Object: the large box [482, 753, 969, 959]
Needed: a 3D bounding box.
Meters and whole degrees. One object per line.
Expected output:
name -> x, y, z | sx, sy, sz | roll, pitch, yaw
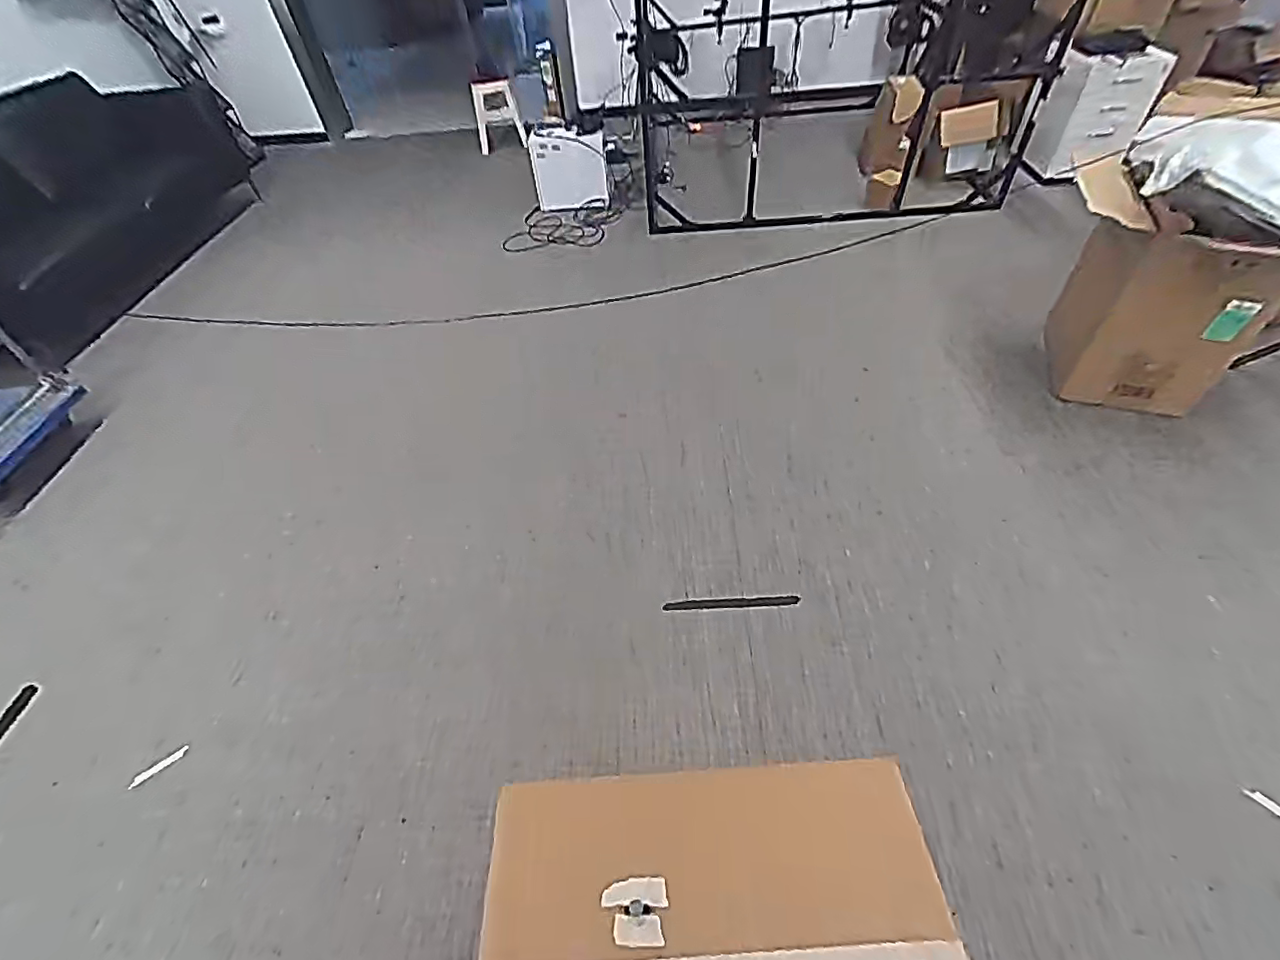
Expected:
large box -> 0.079, 0.501, 0.539 | 0.408, 0.320, 0.320 | -6, 45, 2
